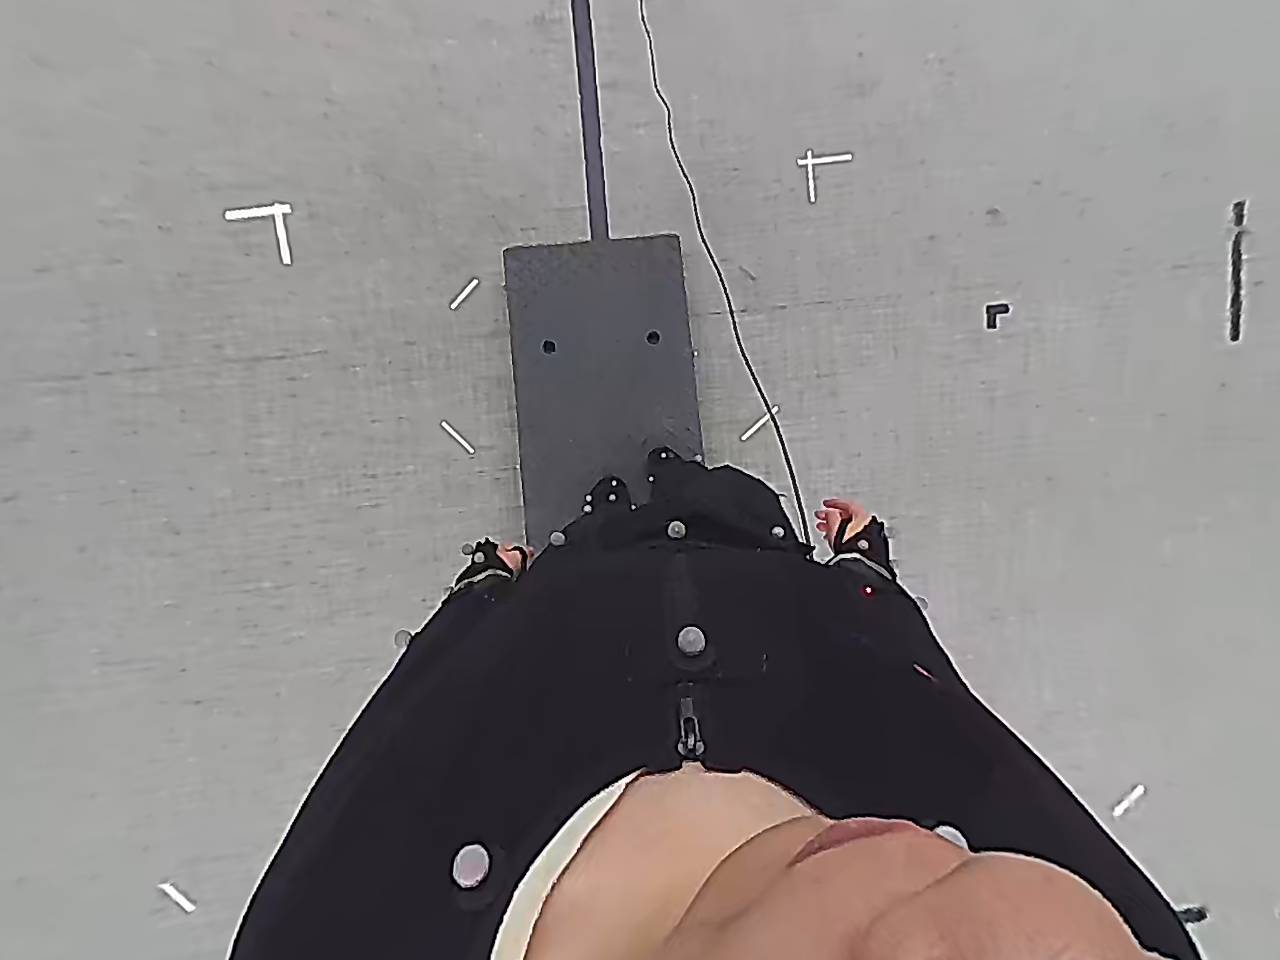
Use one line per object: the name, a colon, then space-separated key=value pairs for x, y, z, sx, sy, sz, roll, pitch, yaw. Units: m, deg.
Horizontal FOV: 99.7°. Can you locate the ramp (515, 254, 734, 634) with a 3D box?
ramp: x=-0.056 y=-0.120 z=1.453 sx=0.509 sy=0.206 sz=0.991 roll=-8 pitch=92 yaw=0
